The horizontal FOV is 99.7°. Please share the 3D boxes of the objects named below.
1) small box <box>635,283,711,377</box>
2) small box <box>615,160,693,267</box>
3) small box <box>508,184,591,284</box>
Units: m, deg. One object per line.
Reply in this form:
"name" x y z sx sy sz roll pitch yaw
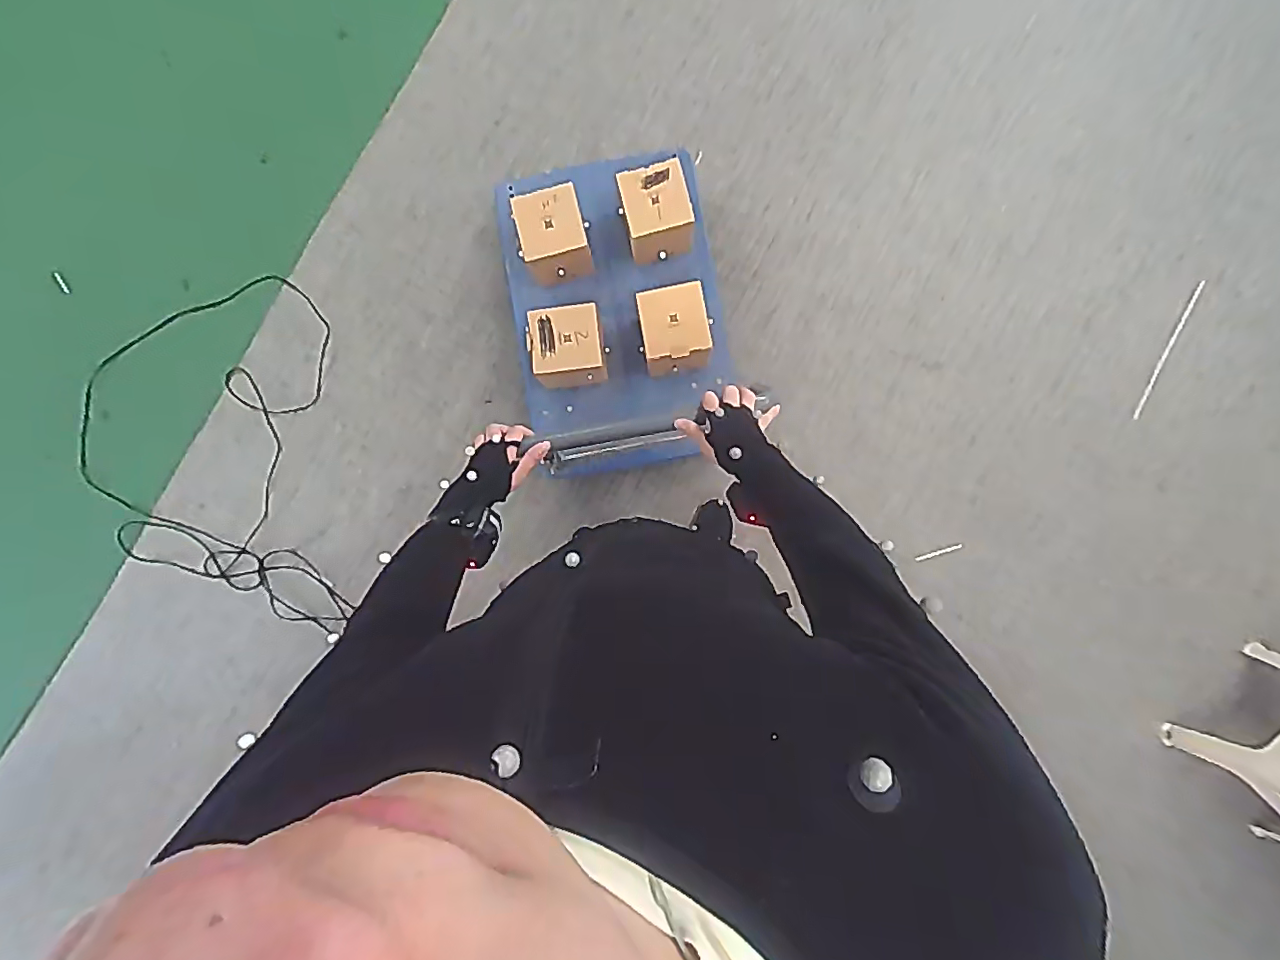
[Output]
"small box" 0.084 -0.385 1.413 0.168 0.176 0.179 -11 86 2
"small box" 0.037 -0.699 1.433 0.168 0.176 0.179 -14 87 2
"small box" -0.233 -0.642 1.441 0.168 0.176 0.179 -14 86 1
